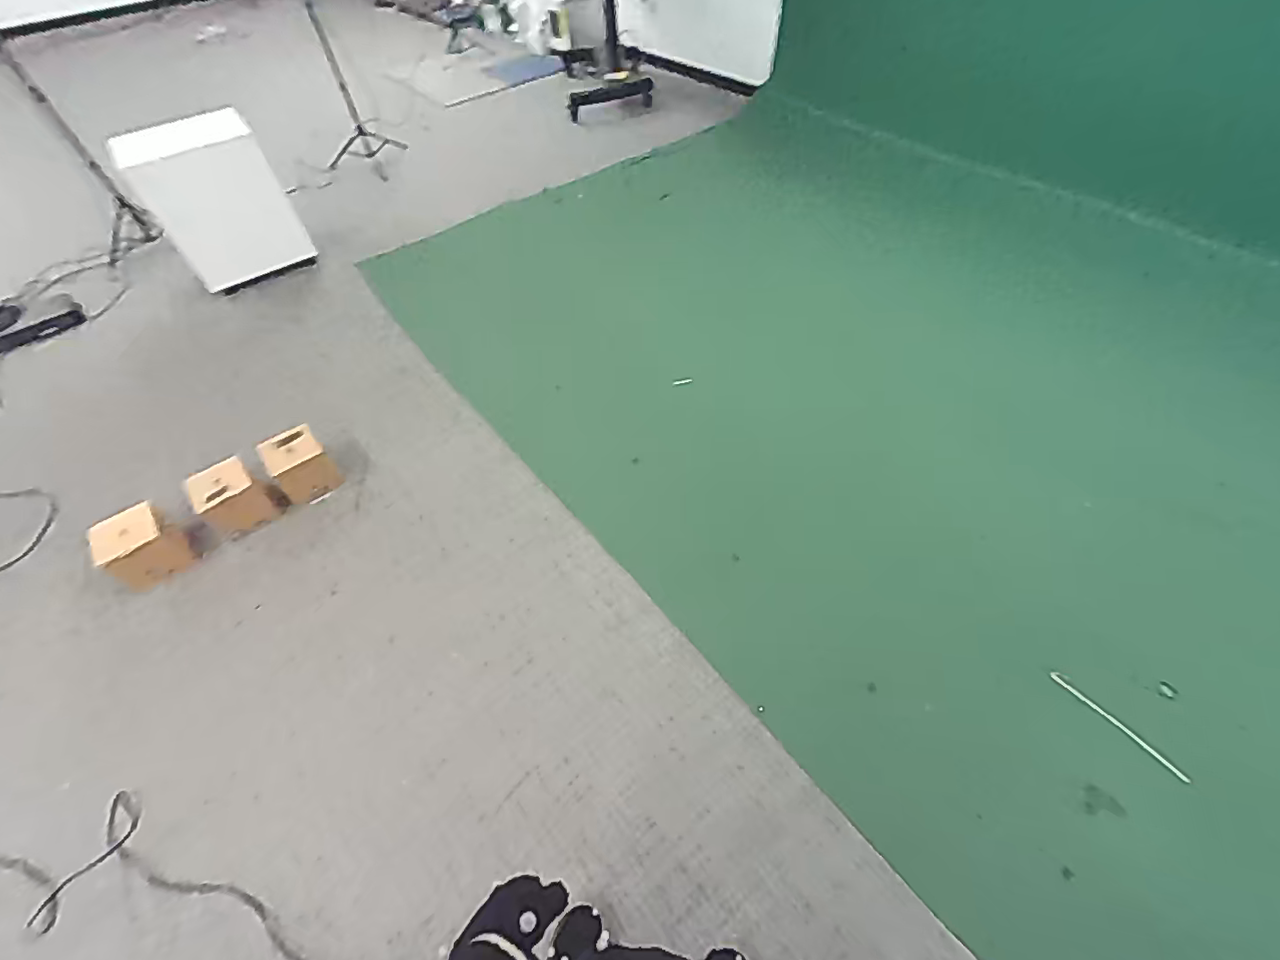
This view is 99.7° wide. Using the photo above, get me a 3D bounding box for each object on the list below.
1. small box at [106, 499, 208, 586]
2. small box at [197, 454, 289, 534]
[{"bbox_3d":[-1.509,0.198,1.693,0.168,0.176,0.179,-34,58,-20],"label":"small box"},{"bbox_3d":[-1.305,0.055,1.788,0.168,0.176,0.179,-34,57,-20],"label":"small box"}]
